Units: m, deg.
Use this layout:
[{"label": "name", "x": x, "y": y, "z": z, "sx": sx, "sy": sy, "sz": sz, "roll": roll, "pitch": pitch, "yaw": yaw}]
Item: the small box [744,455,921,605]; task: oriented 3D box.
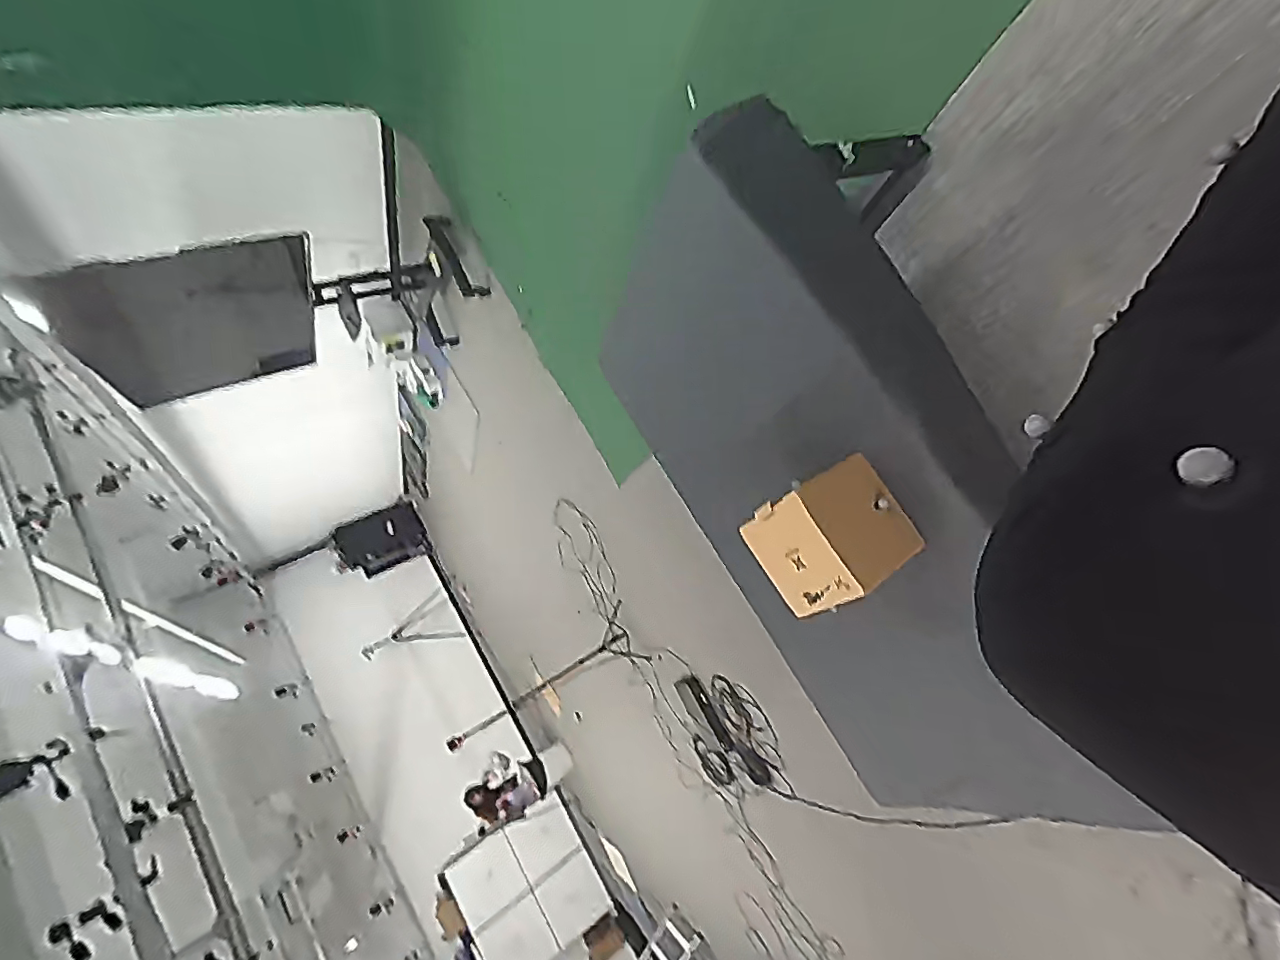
[{"label": "small box", "x": 0.312, "y": 0.077, "z": 0.889, "sx": 0.179, "sy": 0.176, "sz": 0.168, "roll": 59, "pitch": 151, "yaw": 12}]
